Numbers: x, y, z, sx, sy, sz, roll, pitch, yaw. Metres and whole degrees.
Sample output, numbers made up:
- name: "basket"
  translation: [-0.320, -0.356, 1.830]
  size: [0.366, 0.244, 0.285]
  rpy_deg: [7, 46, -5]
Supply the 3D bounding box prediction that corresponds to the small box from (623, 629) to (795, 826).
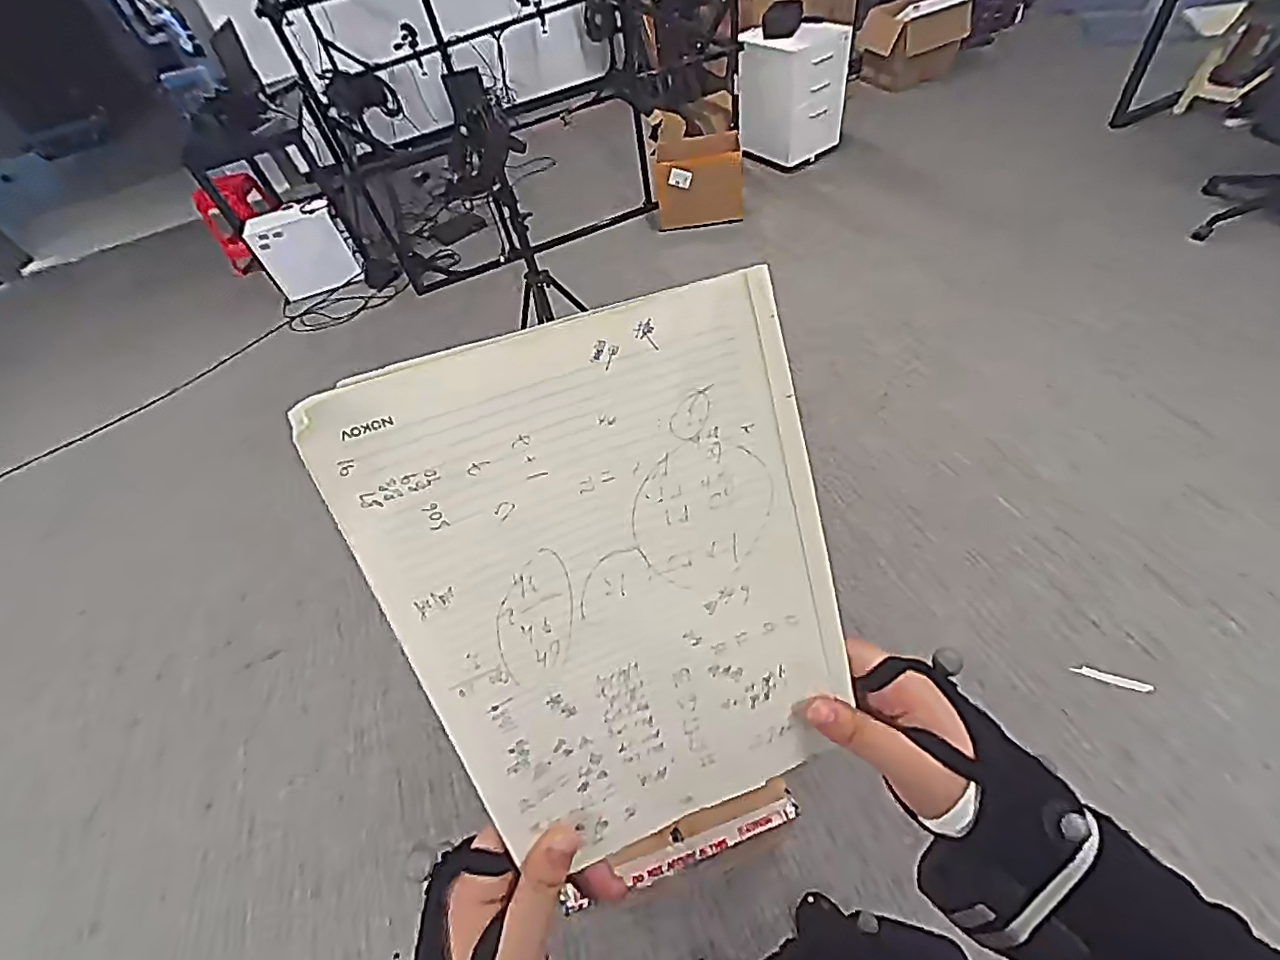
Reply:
- name: "small box"
  translation: [0.083, 0.329, 0.716]
  size: [0.168, 0.176, 0.179]
  rpy_deg: [-16, 52, -5]
